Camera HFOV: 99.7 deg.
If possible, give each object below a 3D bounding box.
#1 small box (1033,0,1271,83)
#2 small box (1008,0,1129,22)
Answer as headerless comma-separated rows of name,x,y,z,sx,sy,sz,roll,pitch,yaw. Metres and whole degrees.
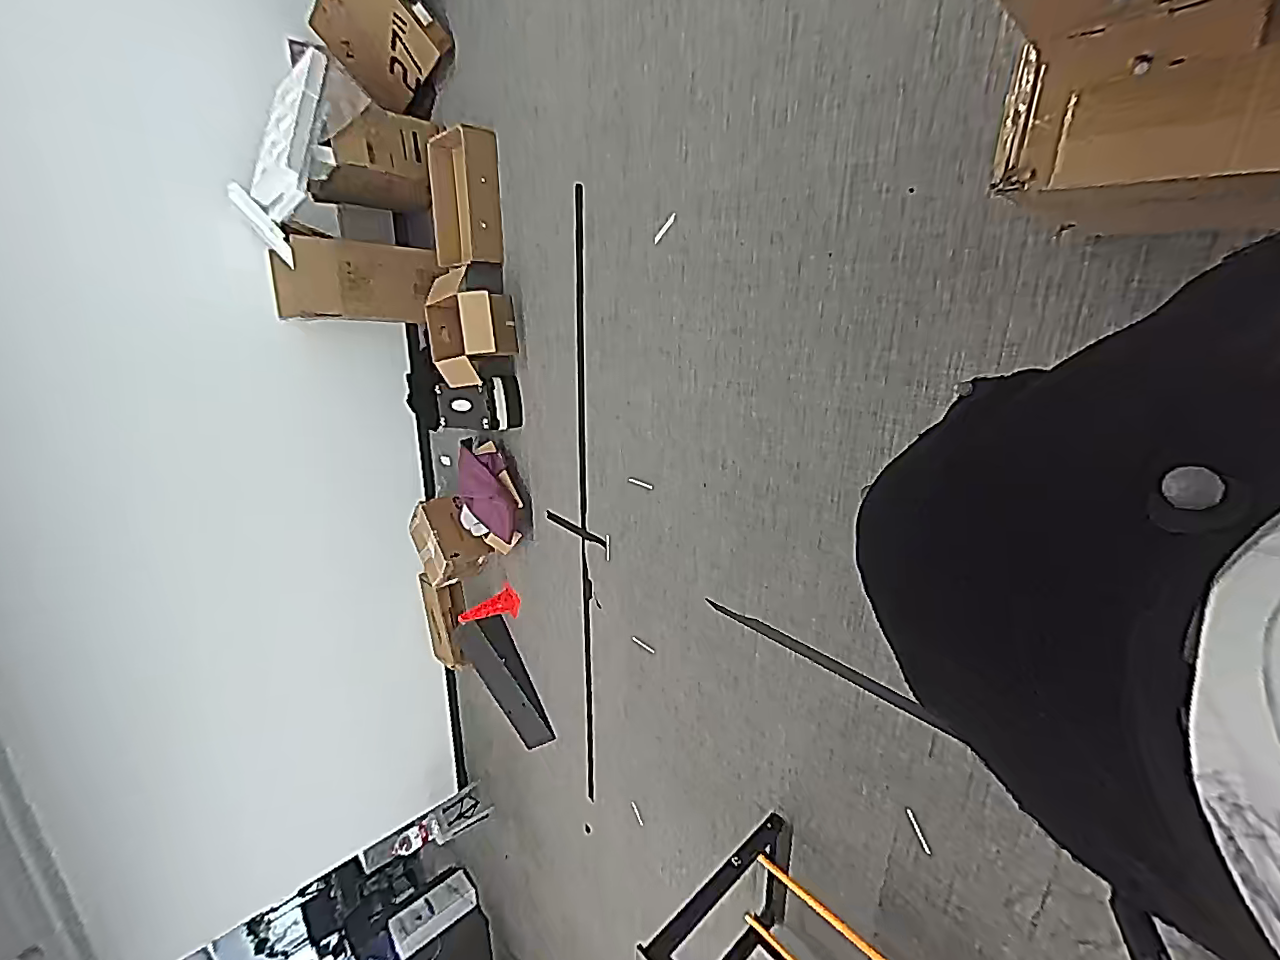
small box,0.517,-0.529,0.526,0.168,0.176,0.179,18,115,43
small box,0.396,-0.498,0.418,0.168,0.176,0.179,17,115,44
